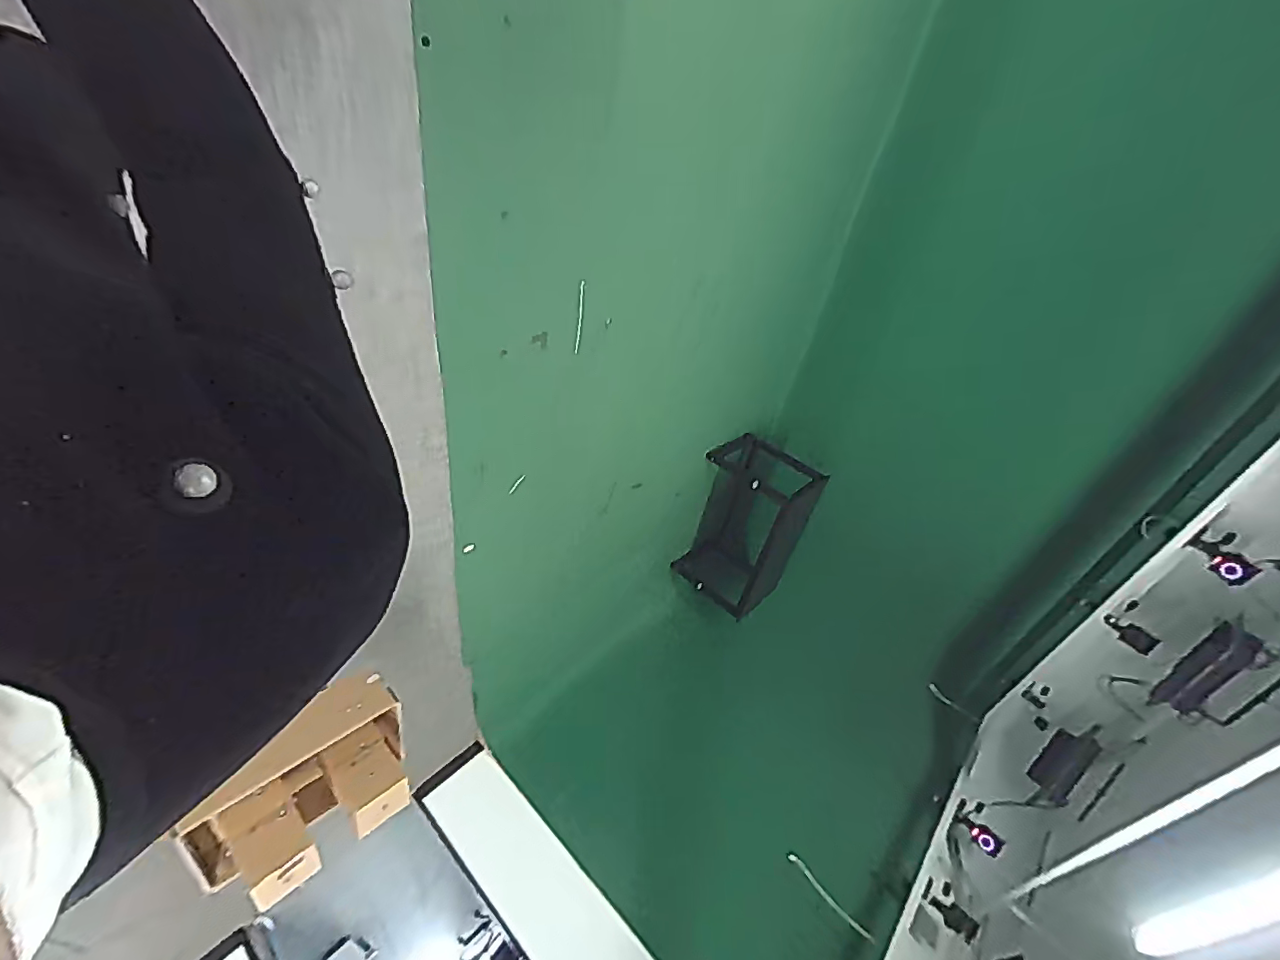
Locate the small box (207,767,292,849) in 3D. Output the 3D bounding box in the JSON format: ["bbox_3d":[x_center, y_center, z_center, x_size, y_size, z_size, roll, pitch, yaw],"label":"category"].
[{"bbox_3d":[-1.176,1.013,1.641,0.168,0.176,0.179,-25,140,-44],"label":"small box"}]

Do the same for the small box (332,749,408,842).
[{"bbox_3d":[-0.874,1.010,1.750,0.168,0.176,0.179,-23,138,-44],"label":"small box"}]

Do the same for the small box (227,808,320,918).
[{"bbox_3d":[-1.057,1.097,1.563,0.168,0.176,0.179,-25,140,-43],"label":"small box"}]

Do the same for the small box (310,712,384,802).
[{"bbox_3d":[-0.992,0.933,1.834,0.168,0.176,0.179,-24,139,-46],"label":"small box"}]
